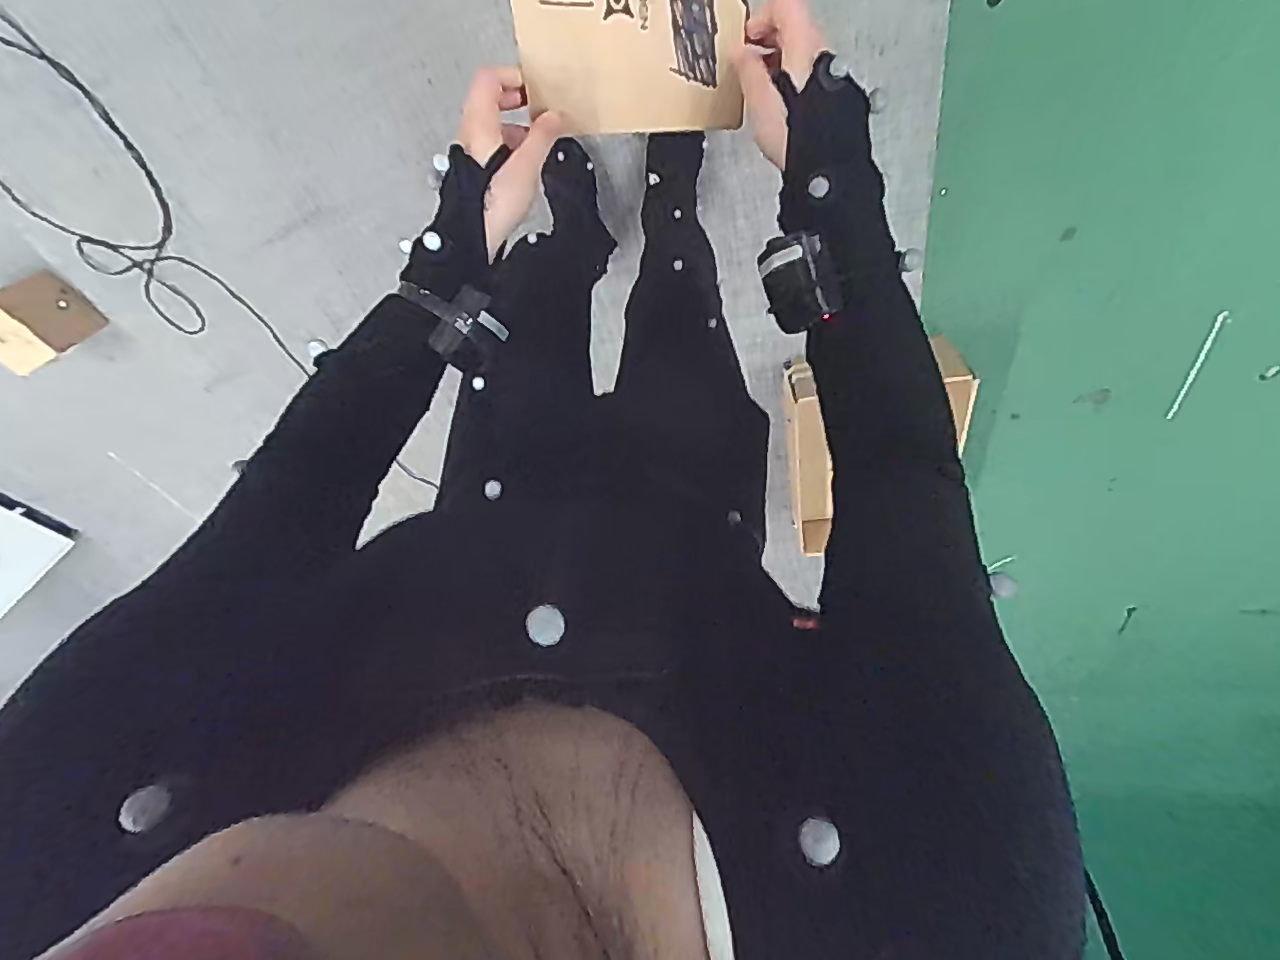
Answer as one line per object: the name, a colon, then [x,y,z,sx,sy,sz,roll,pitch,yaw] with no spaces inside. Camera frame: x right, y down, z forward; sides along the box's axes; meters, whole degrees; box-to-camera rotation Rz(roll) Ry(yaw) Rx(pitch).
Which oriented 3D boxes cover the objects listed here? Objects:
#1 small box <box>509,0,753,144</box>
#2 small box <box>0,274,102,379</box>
small box: [-0.002,-0.393,0.440,0.179,0.176,0.168,1,136,5]
small box: [-1.536,-0.387,1.362,0.179,0.176,0.168,-16,132,19]
